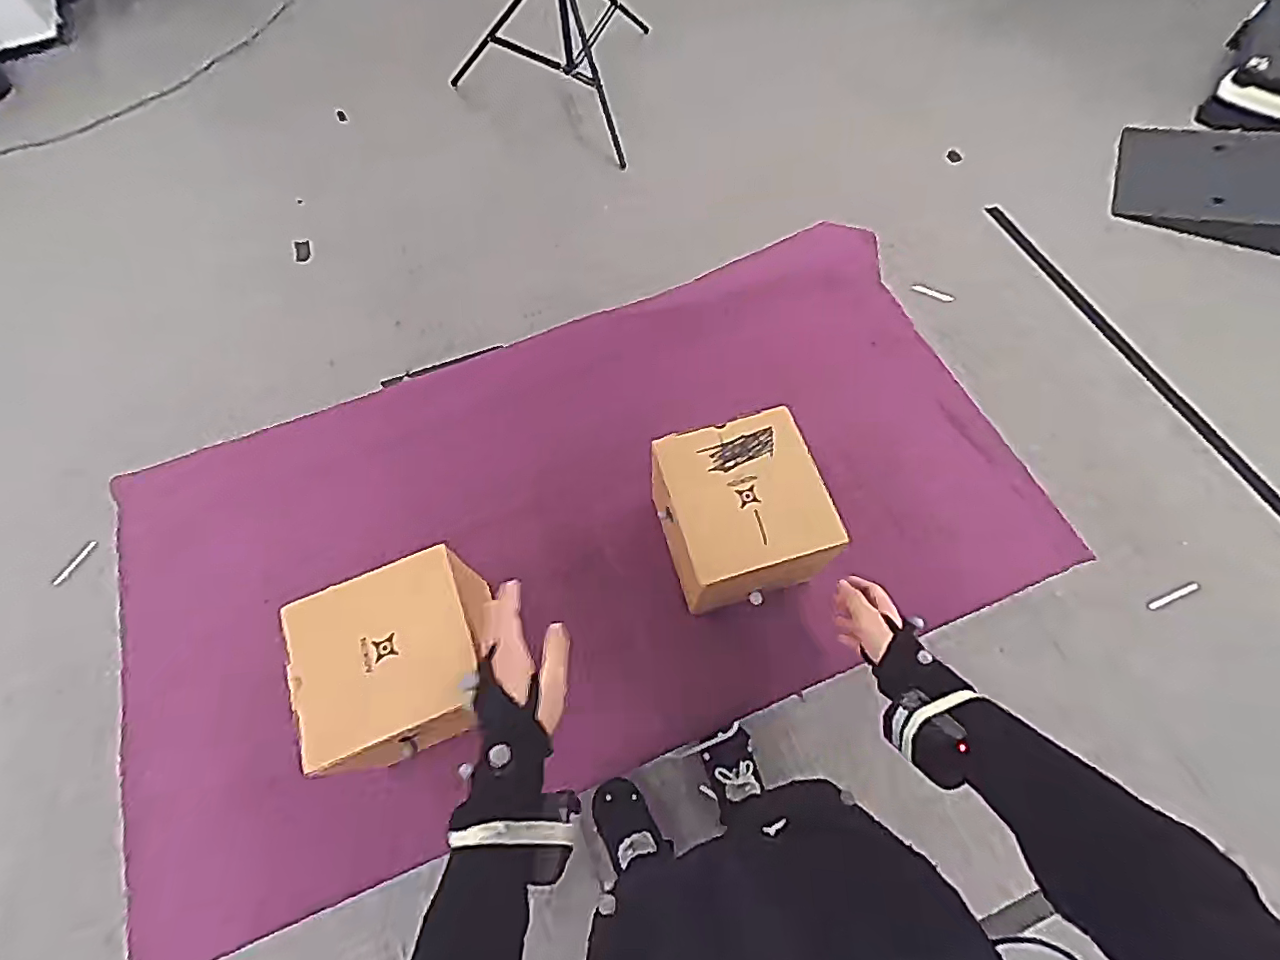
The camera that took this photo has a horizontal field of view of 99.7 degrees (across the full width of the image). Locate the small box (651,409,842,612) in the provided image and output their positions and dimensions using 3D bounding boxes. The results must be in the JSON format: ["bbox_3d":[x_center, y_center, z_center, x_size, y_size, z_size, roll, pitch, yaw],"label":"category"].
[{"bbox_3d":[0.112,0.044,0.662,0.168,0.176,0.179,-16,67,-5],"label":"small box"}]

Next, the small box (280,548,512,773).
[{"bbox_3d":[-0.256,0.200,0.607,0.179,0.176,0.168,-22,67,-7],"label":"small box"}]
